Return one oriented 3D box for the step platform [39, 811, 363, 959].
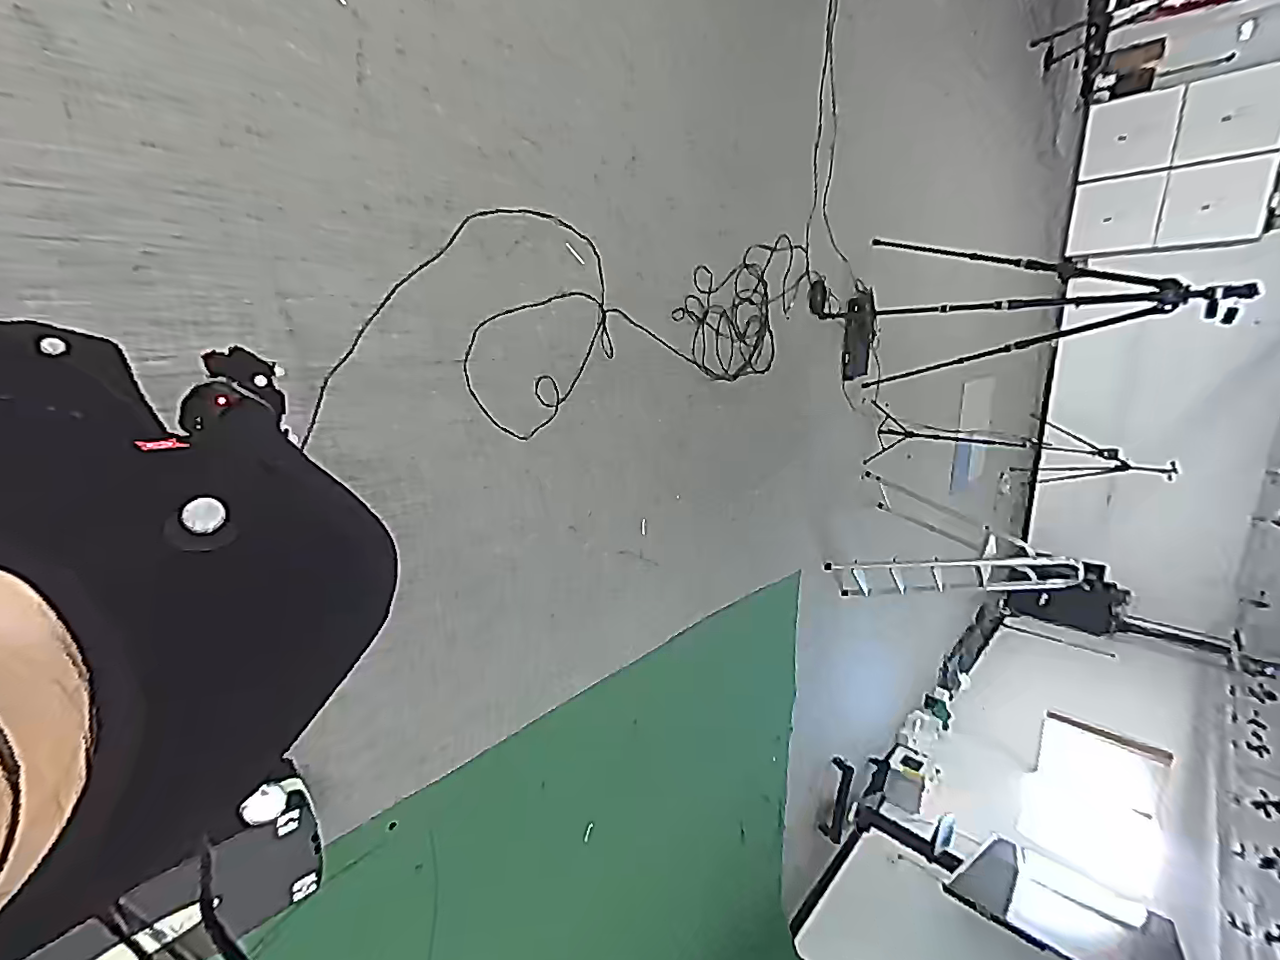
[{"bbox_3d":[-0.940,0.989,1.055,0.684,0.204,0.286,-16,111,-44],"label":"step platform"}]
